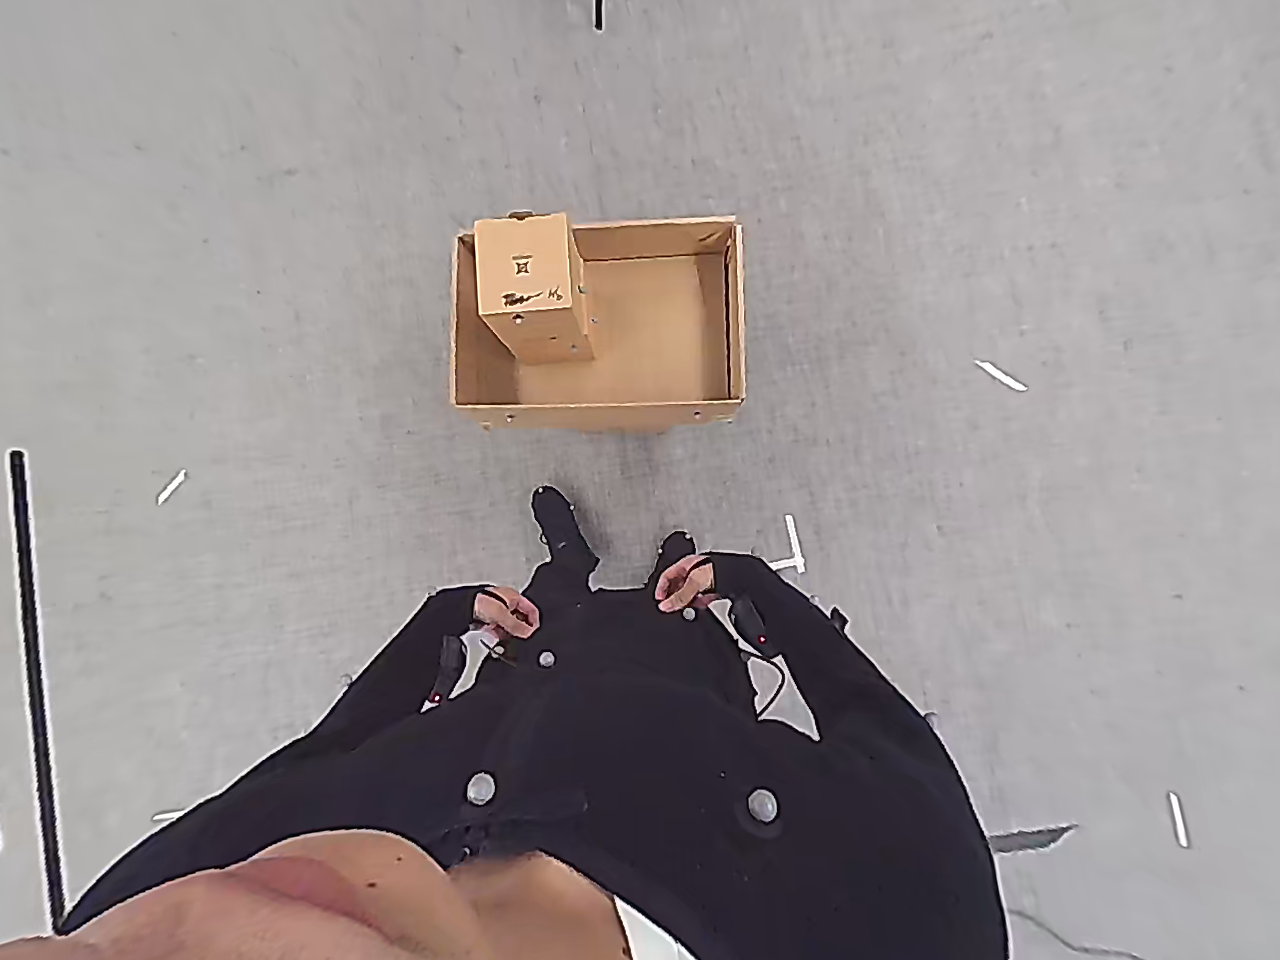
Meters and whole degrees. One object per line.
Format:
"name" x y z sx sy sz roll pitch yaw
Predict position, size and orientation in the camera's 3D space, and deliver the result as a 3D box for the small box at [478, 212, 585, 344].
"small box" -0.199 -0.373 1.021 0.168 0.176 0.179 -4 85 1
